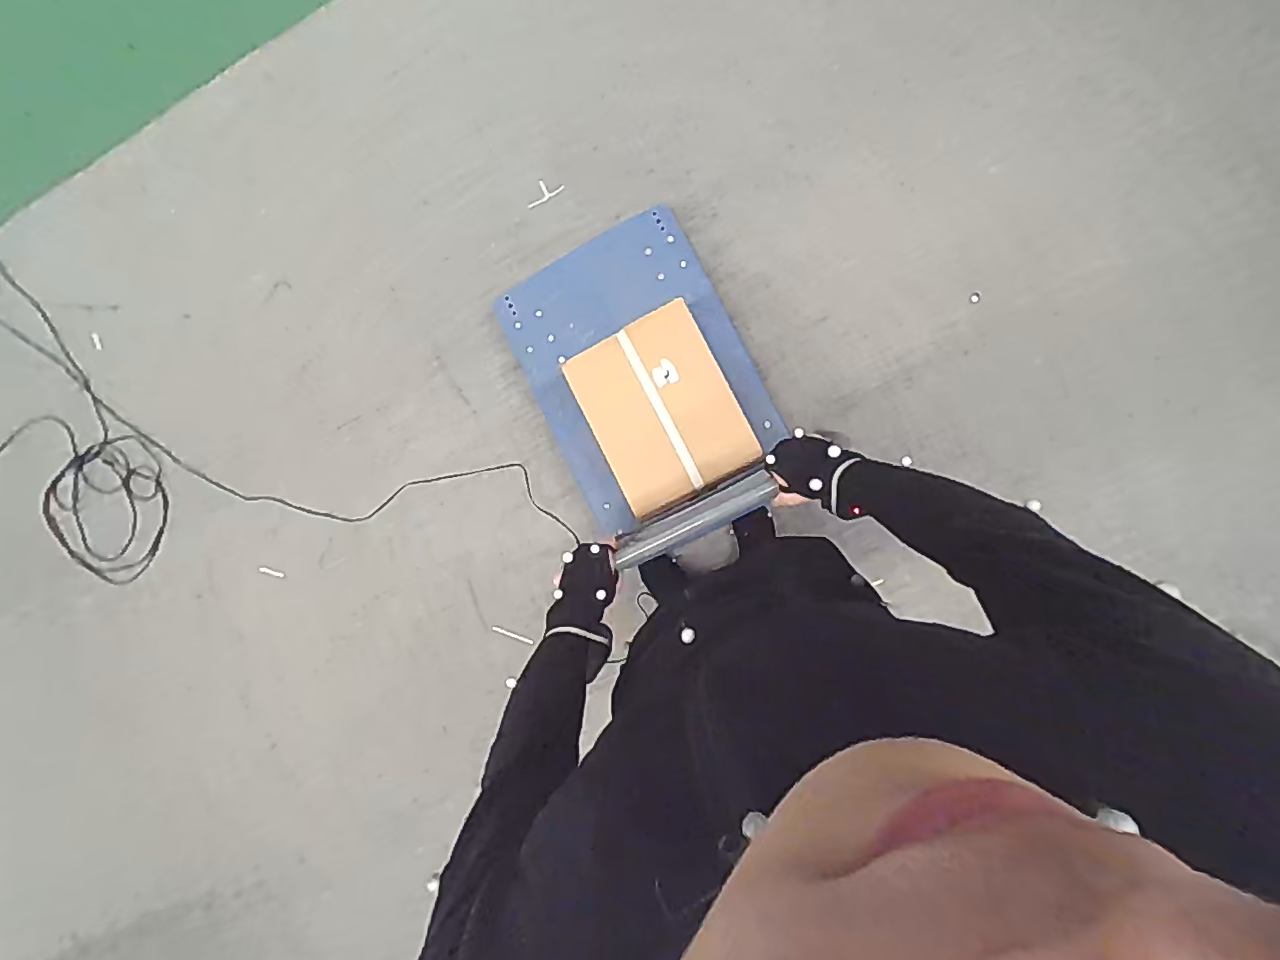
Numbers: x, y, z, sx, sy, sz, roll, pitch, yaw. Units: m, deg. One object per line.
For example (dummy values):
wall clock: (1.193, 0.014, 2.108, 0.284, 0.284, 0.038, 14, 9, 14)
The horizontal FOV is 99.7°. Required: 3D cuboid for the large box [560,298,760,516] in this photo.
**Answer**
large box: (0.063, -0.159, 1.343, 0.320, 0.320, 0.408, -27, 85, 6)
